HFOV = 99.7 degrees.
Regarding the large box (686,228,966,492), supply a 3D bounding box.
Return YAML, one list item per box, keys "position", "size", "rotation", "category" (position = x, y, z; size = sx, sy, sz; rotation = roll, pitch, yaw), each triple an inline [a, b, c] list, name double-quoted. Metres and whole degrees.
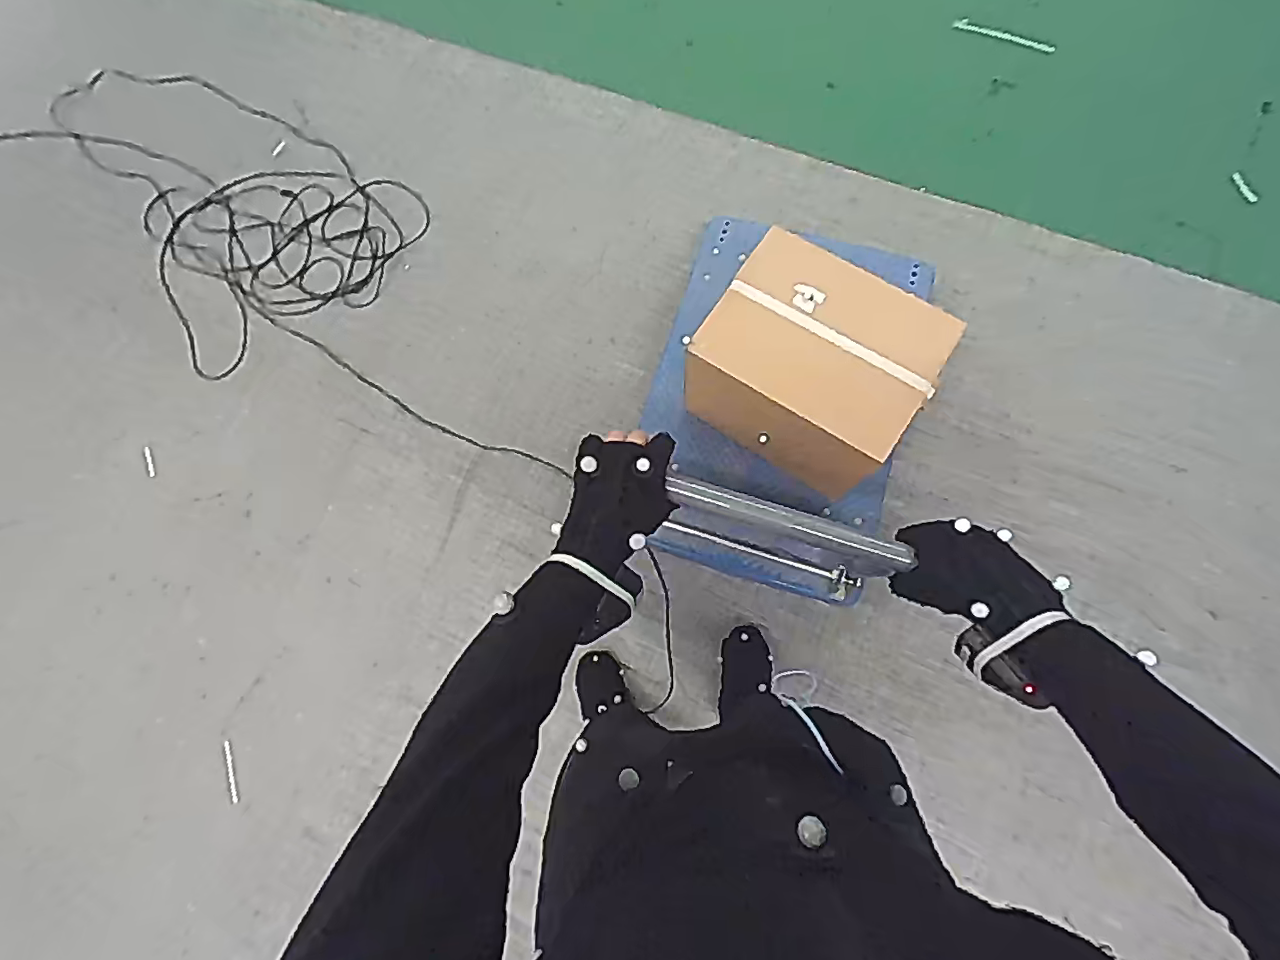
- position: [0.347, -0.225, 1.116]
  size: [0.408, 0.320, 0.320]
  rotation: [33, 81, 12]
  category: "large box"
